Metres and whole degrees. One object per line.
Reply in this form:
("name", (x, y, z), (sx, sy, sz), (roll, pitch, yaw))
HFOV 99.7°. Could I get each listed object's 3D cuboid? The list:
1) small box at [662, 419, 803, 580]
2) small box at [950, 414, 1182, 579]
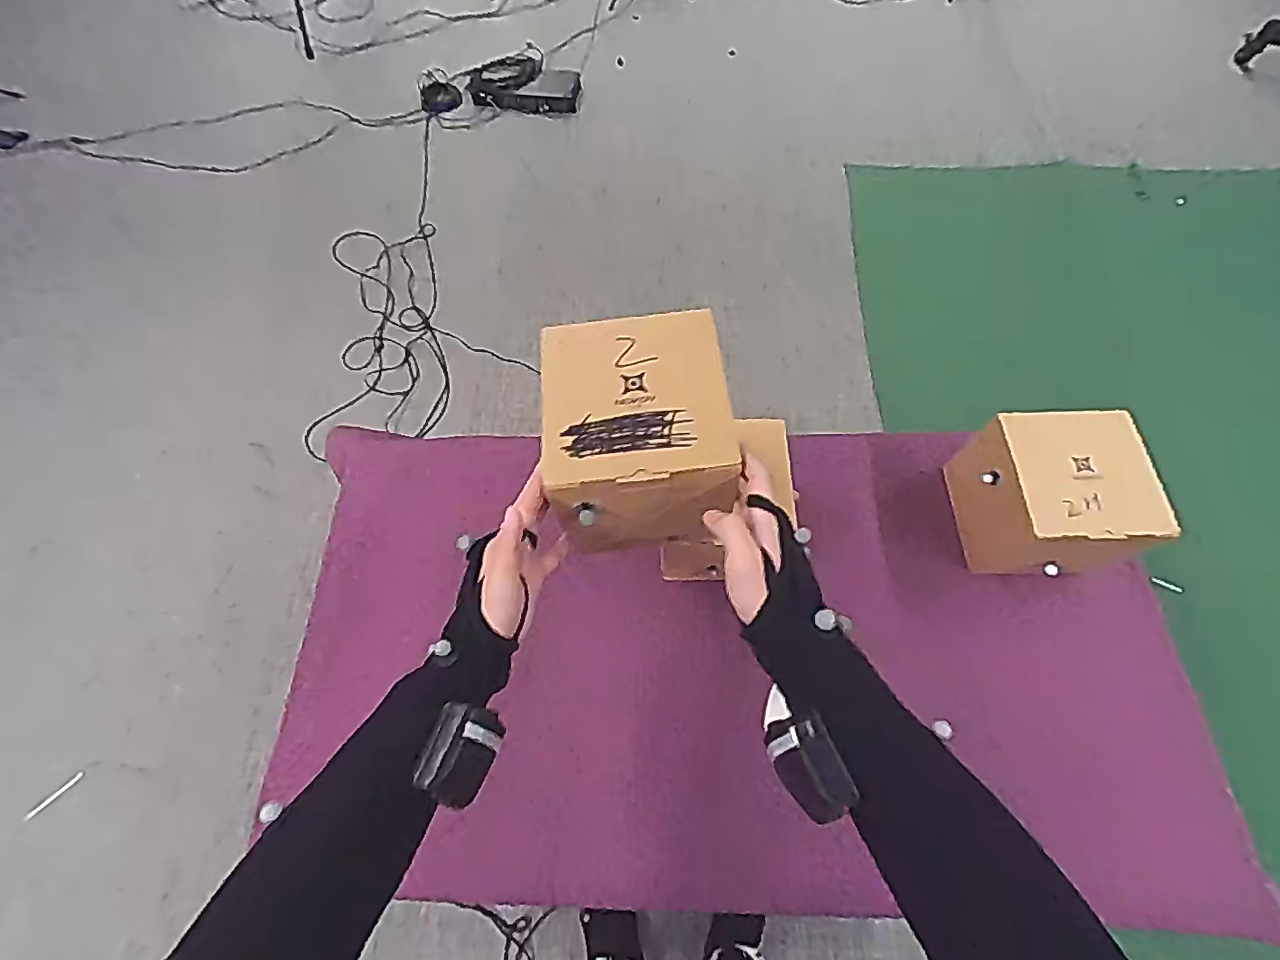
("small box", (0.116, 0.032, 0.754), (0.168, 0.176, 0.179), (0, 66, 1))
("small box", (0.557, 0.027, 0.742), (0.168, 0.176, 0.179), (0, 65, 4))
